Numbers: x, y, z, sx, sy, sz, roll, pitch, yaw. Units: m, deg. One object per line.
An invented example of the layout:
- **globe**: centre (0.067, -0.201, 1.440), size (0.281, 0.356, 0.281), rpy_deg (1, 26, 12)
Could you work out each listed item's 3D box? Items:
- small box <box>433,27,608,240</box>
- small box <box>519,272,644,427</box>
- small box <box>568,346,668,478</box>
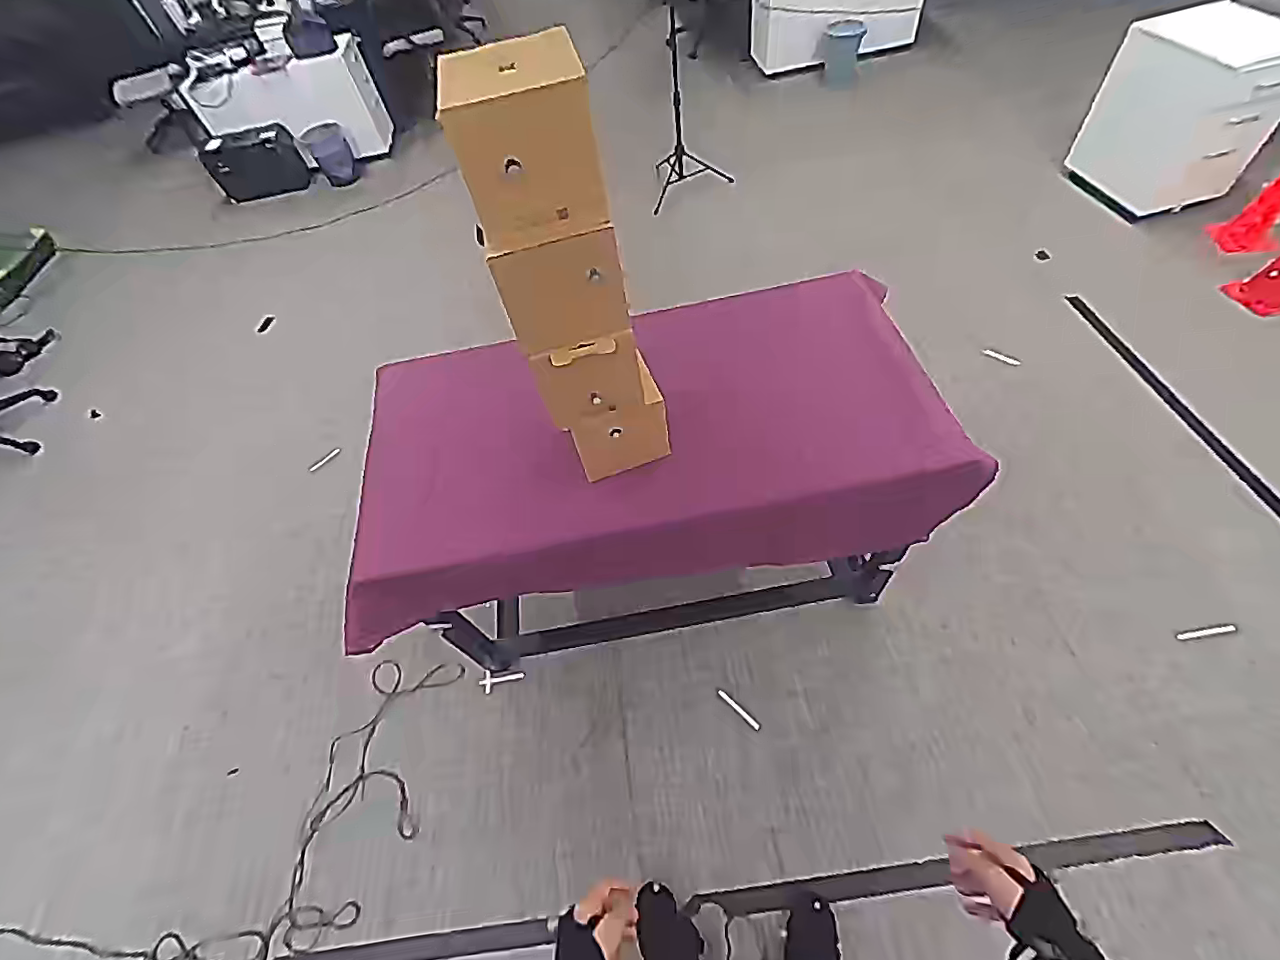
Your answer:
- **small box**: centre (-0.146, -0.428, 0.686), size (0.168, 0.176, 0.179), rpy_deg (-15, 54, -1)
- **small box**: centre (-0.099, -0.223, 0.937), size (0.168, 0.176, 0.179), rpy_deg (-16, 55, -1)
- **small box**: centre (-0.055, -0.129, 1.067), size (0.179, 0.176, 0.168), rpy_deg (-20, 55, -5)
